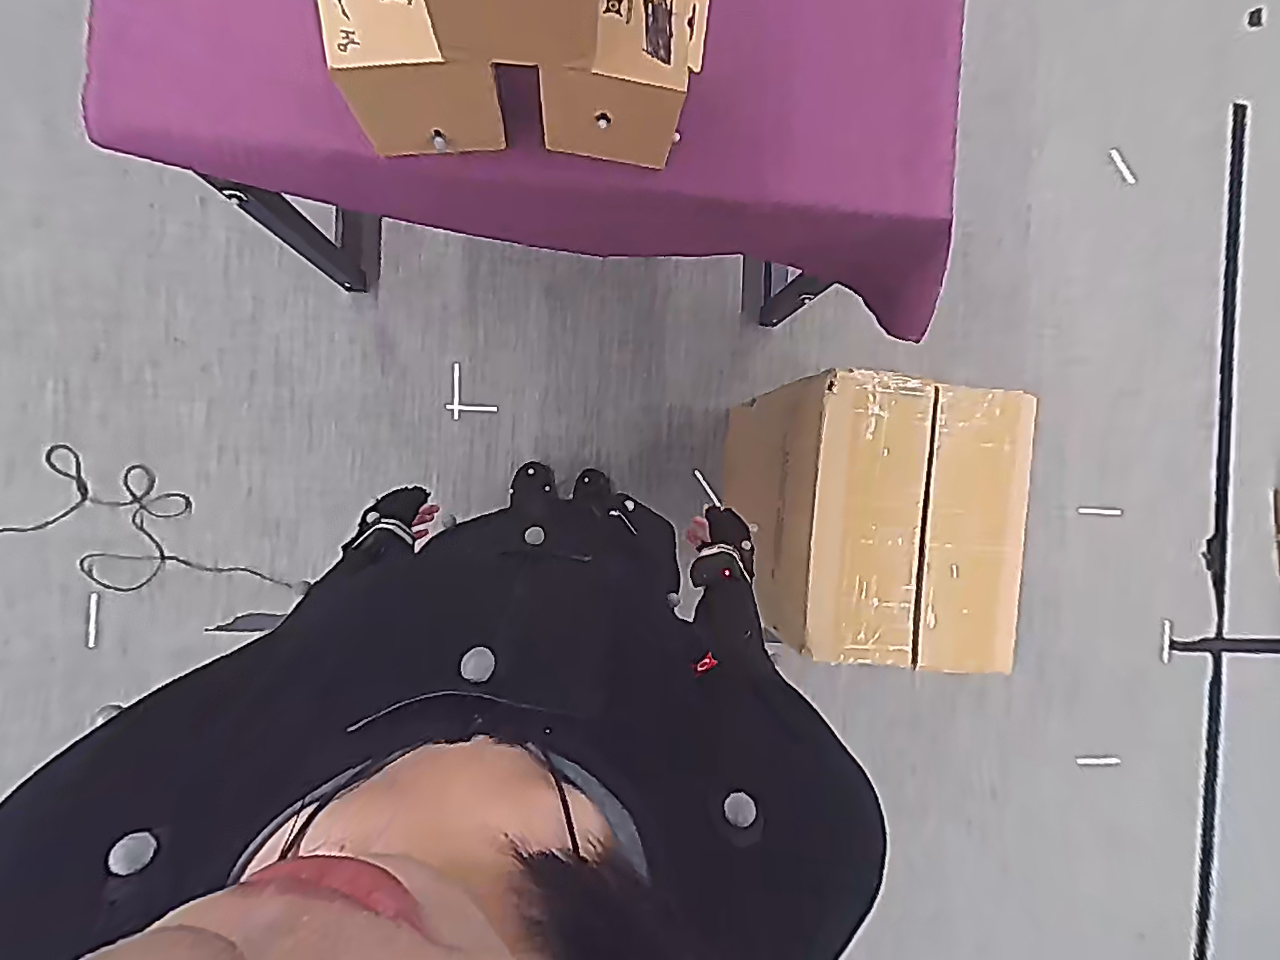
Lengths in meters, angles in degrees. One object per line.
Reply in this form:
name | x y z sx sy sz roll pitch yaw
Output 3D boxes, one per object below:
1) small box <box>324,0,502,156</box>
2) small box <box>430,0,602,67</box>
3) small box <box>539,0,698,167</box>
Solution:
small box | -0.273 -0.538 0.679 0.179 0.176 0.168 -8 91 -8
small box | -0.125 -0.550 0.533 0.179 0.176 0.168 -1 91 -8
small box | -0.030 -0.544 0.708 0.179 0.176 0.168 7 89 -6
